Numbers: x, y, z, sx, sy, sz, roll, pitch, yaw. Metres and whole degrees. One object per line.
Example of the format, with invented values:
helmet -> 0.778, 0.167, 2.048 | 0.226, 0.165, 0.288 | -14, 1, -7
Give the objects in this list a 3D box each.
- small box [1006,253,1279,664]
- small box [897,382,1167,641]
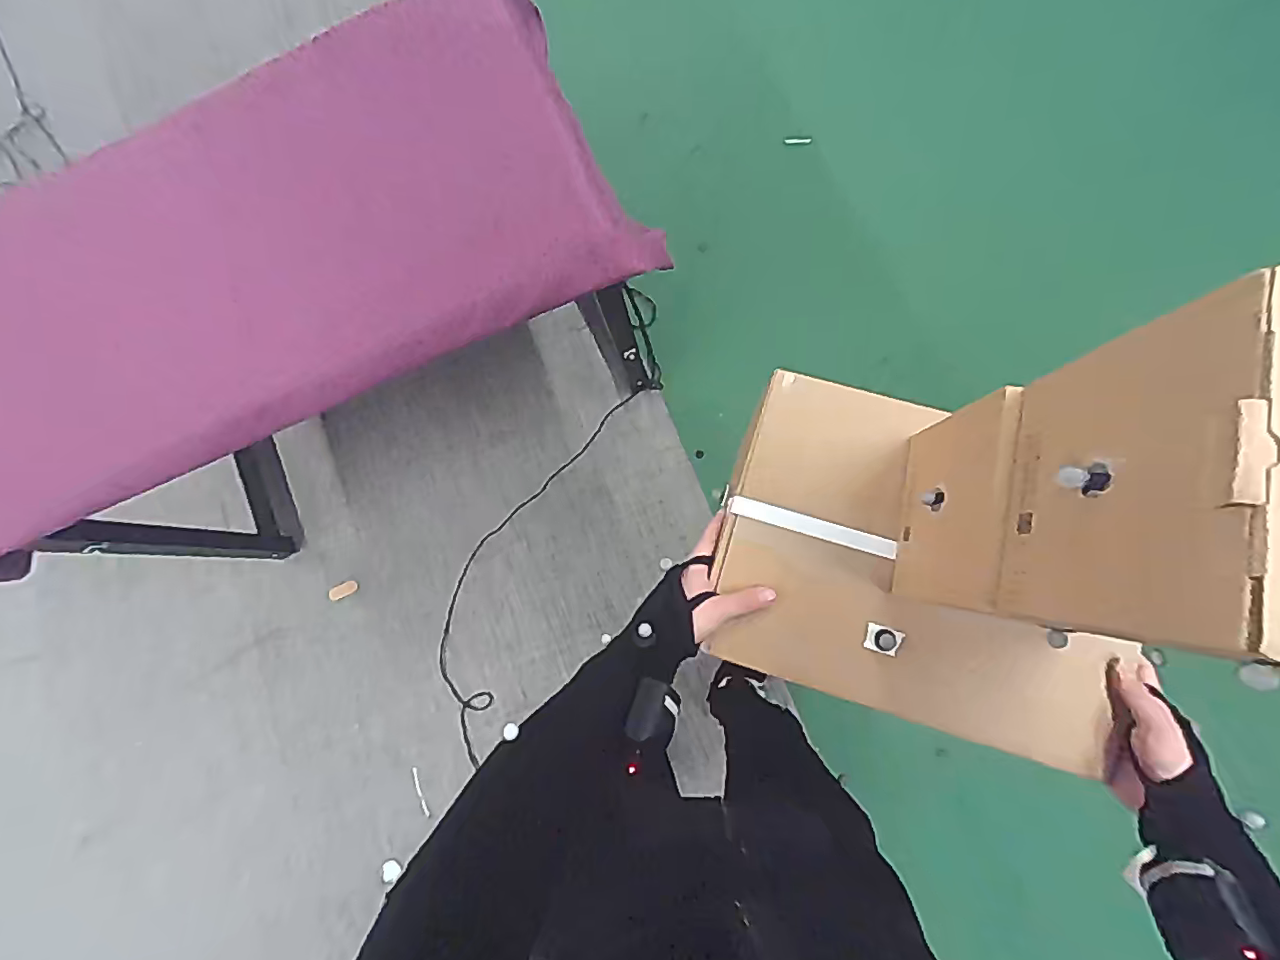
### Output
small box -> 0.337, 0.009, 0.291 | 0.179, 0.176, 0.168 | 12, 82, 7
small box -> 0.340, 0.033, 0.455 | 0.179, 0.176, 0.168 | 11, 83, 6
